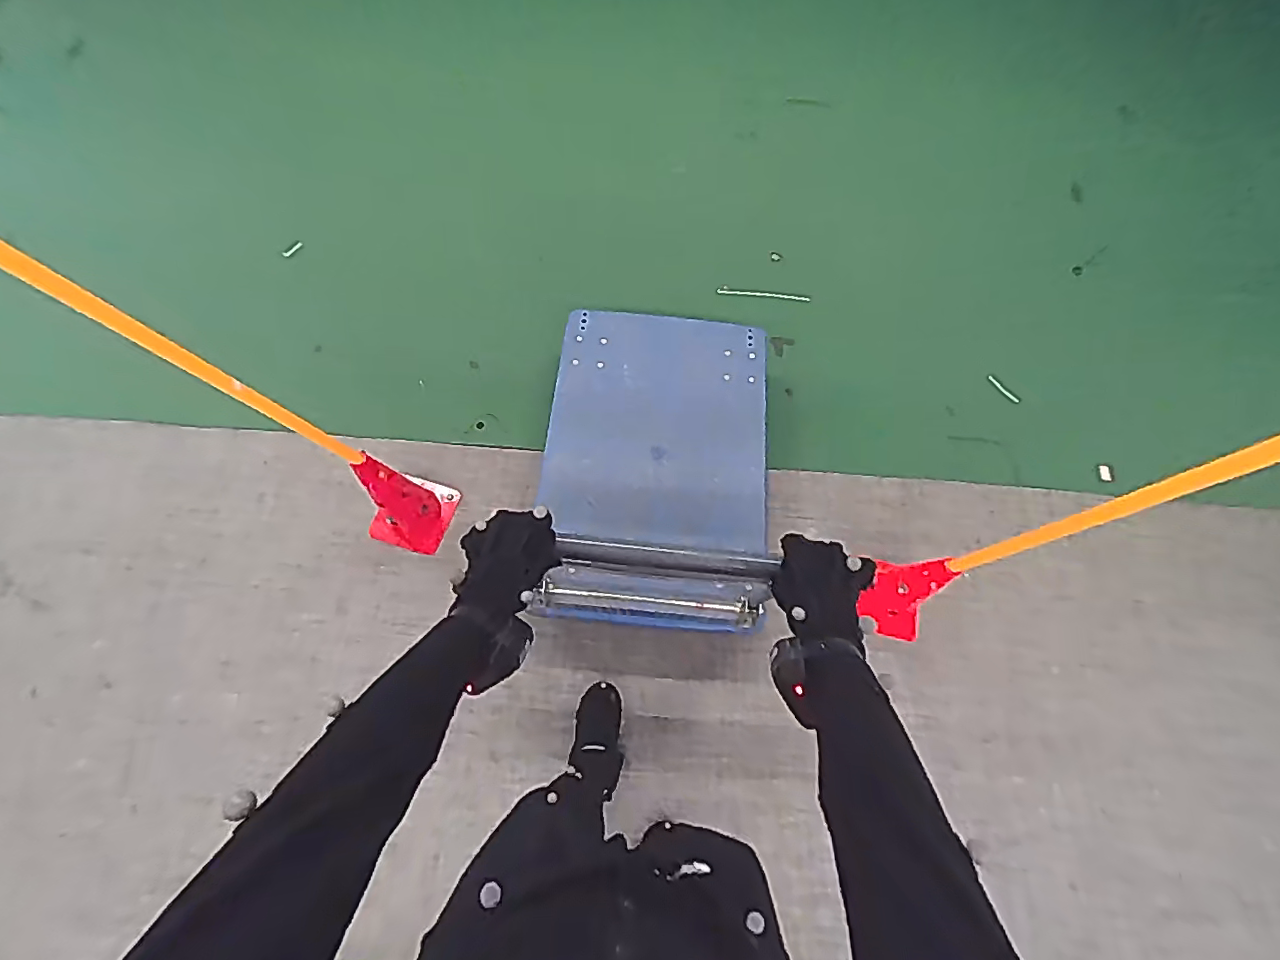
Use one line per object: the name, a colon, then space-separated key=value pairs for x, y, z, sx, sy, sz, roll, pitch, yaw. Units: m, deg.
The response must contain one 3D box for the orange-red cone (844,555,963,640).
orange-red cone: x=0.652 y=0.245 z=1.284 sx=0.198 sy=0.360 sz=0.199 roll=14 pitch=68 yaw=5
